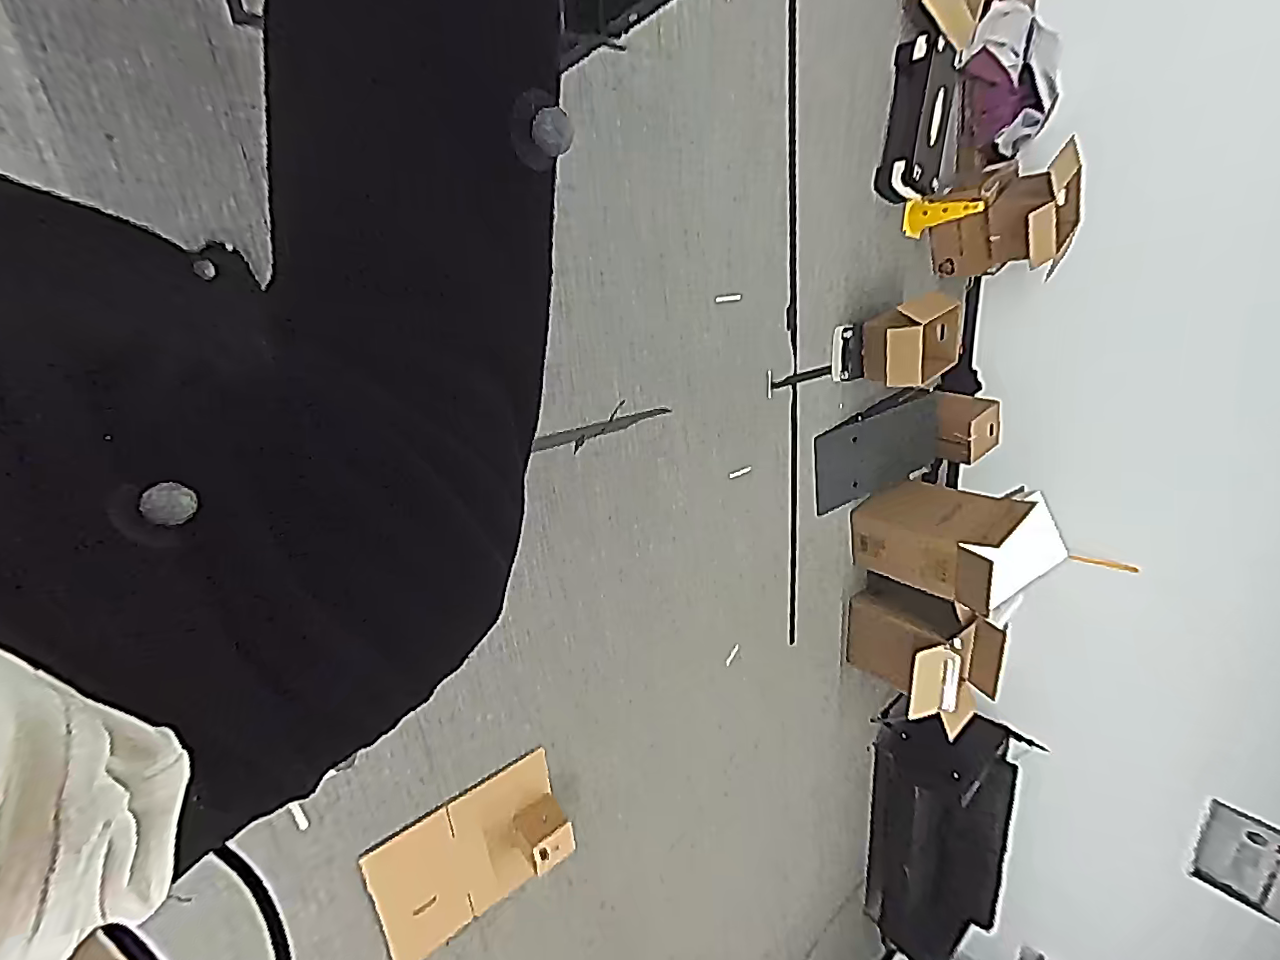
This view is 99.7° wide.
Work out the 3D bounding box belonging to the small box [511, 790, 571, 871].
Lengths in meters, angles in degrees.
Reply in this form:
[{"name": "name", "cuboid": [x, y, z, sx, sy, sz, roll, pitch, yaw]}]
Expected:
[{"name": "small box", "cuboid": [-0.403, 1.400, 2.170, 0.179, 0.176, 0.168, -19, 115, -36]}]
